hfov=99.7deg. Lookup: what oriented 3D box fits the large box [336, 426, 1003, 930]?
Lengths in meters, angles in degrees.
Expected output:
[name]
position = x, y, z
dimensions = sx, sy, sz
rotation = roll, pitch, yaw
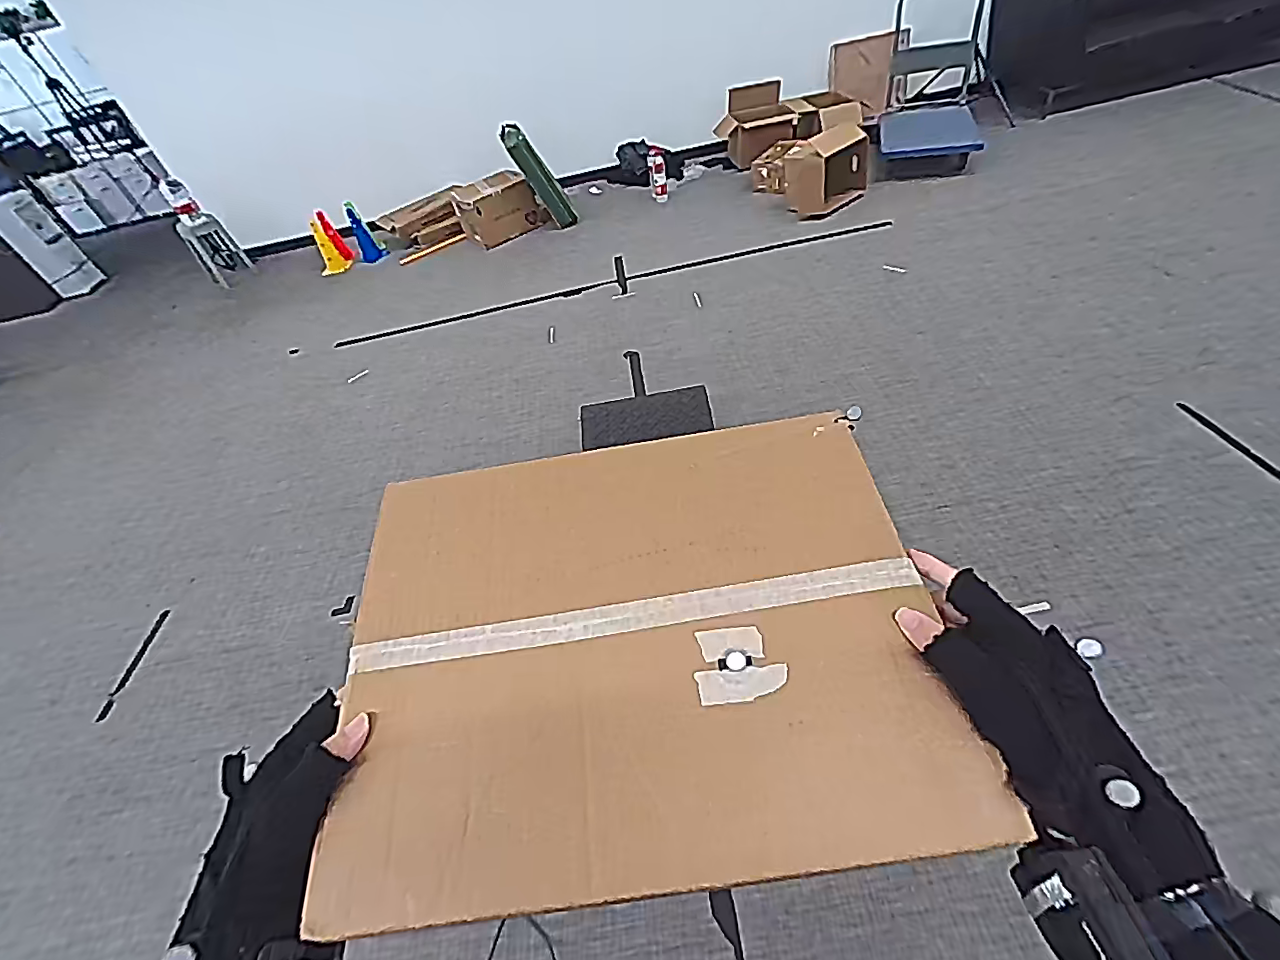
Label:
[large box]
position = 0.013, 0.192, 0.518
dimensions = 0.408, 0.320, 0.320
rotation = -9, 55, 1
